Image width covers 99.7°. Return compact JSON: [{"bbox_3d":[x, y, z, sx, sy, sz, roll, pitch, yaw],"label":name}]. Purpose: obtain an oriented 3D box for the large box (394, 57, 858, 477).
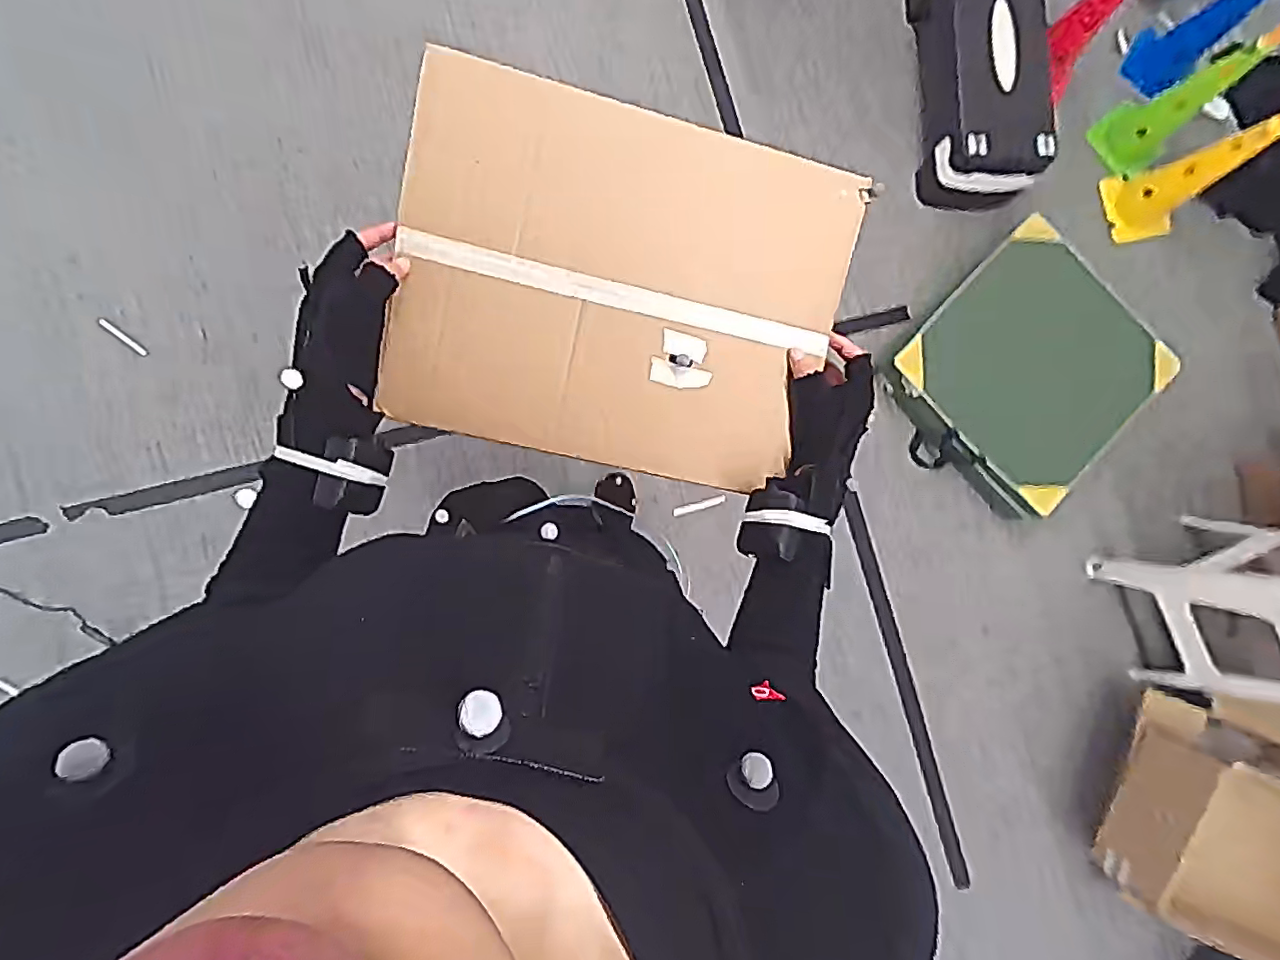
[{"bbox_3d":[-0.030,-0.211,0.660,0.408,0.320,0.320,11,101,-9],"label":"large box"}]
